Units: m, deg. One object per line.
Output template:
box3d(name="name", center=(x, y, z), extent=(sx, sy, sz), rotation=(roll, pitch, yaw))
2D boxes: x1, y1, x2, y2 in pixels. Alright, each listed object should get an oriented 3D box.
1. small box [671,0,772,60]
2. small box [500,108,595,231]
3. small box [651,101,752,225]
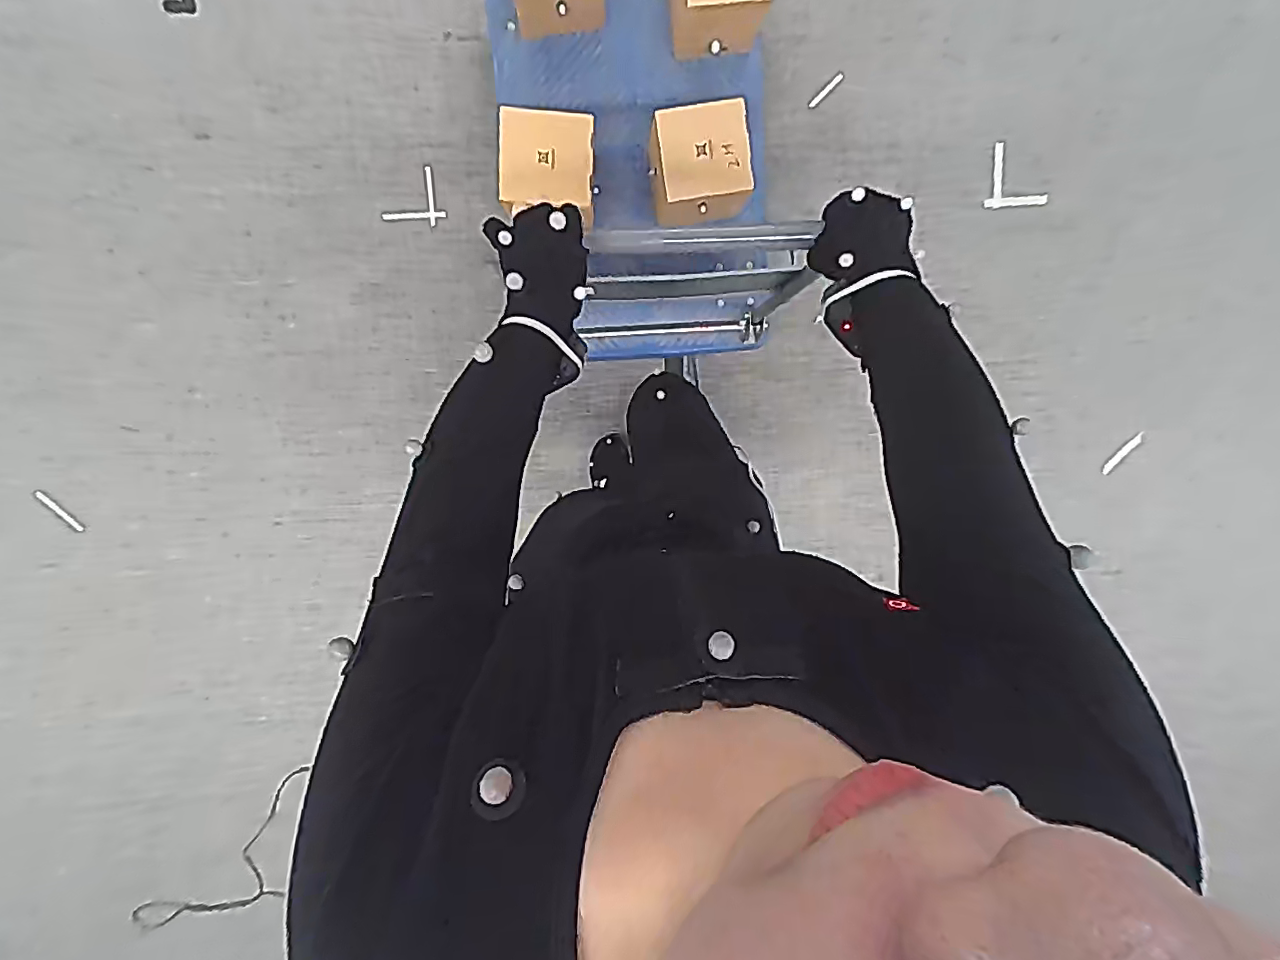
box3d(name="small box", center=(0.152, -0.981, 1.070), extent=(0.168, 0.176, 0.179), rotation=(-7, 101, -3))
box3d(name="small box", center=(-0.184, -0.624, 1.108), extent=(0.179, 0.176, 0.168), rotation=(2, 99, -6))
box3d(name="small box", center=(0.119, -0.647, 1.124), extent=(0.179, 0.176, 0.168), rotation=(-9, 100, -2))
